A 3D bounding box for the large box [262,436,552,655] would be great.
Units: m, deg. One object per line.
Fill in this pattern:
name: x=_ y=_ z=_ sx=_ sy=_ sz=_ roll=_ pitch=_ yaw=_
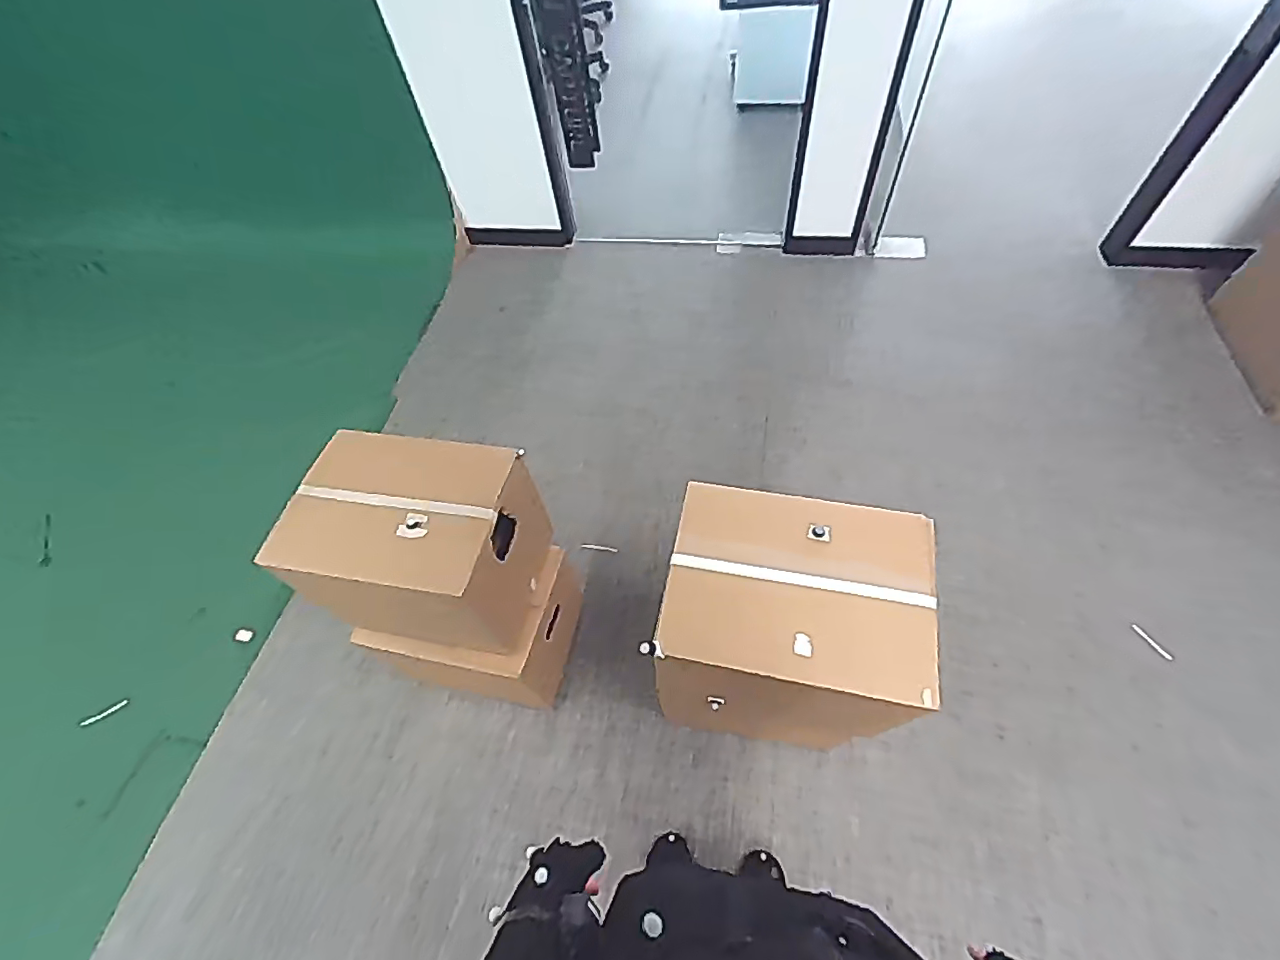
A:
large box: x=-0.440 y=0.139 z=1.128 sx=0.408 sy=0.320 sz=0.320 roll=8 pitch=55 yaw=9
